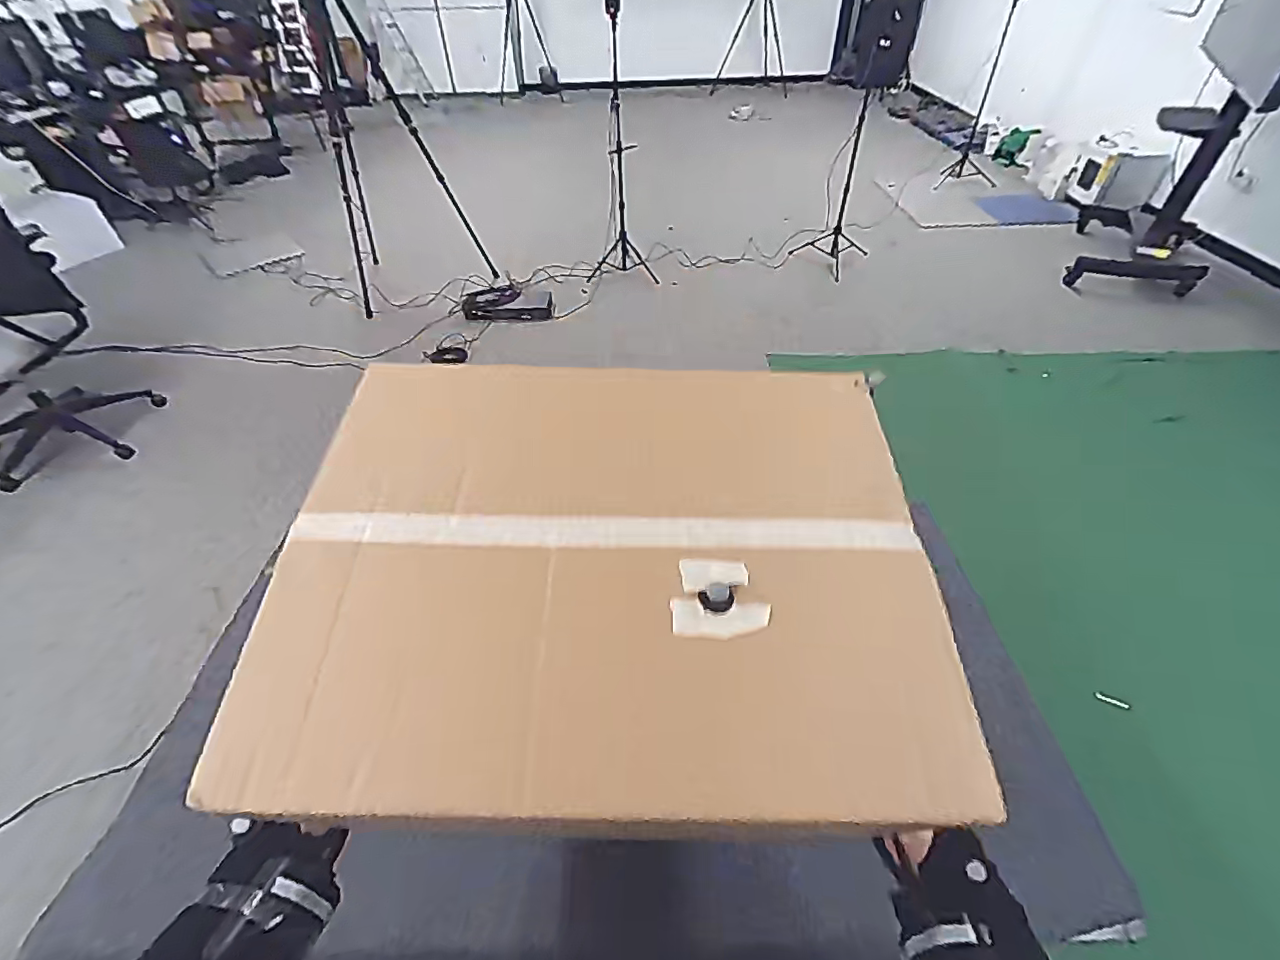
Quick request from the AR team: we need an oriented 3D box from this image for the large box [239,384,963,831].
[{"bbox_3d":[-0.024,0.131,0.498,0.408,0.320,0.320,1,56,-1],"label":"large box"}]
